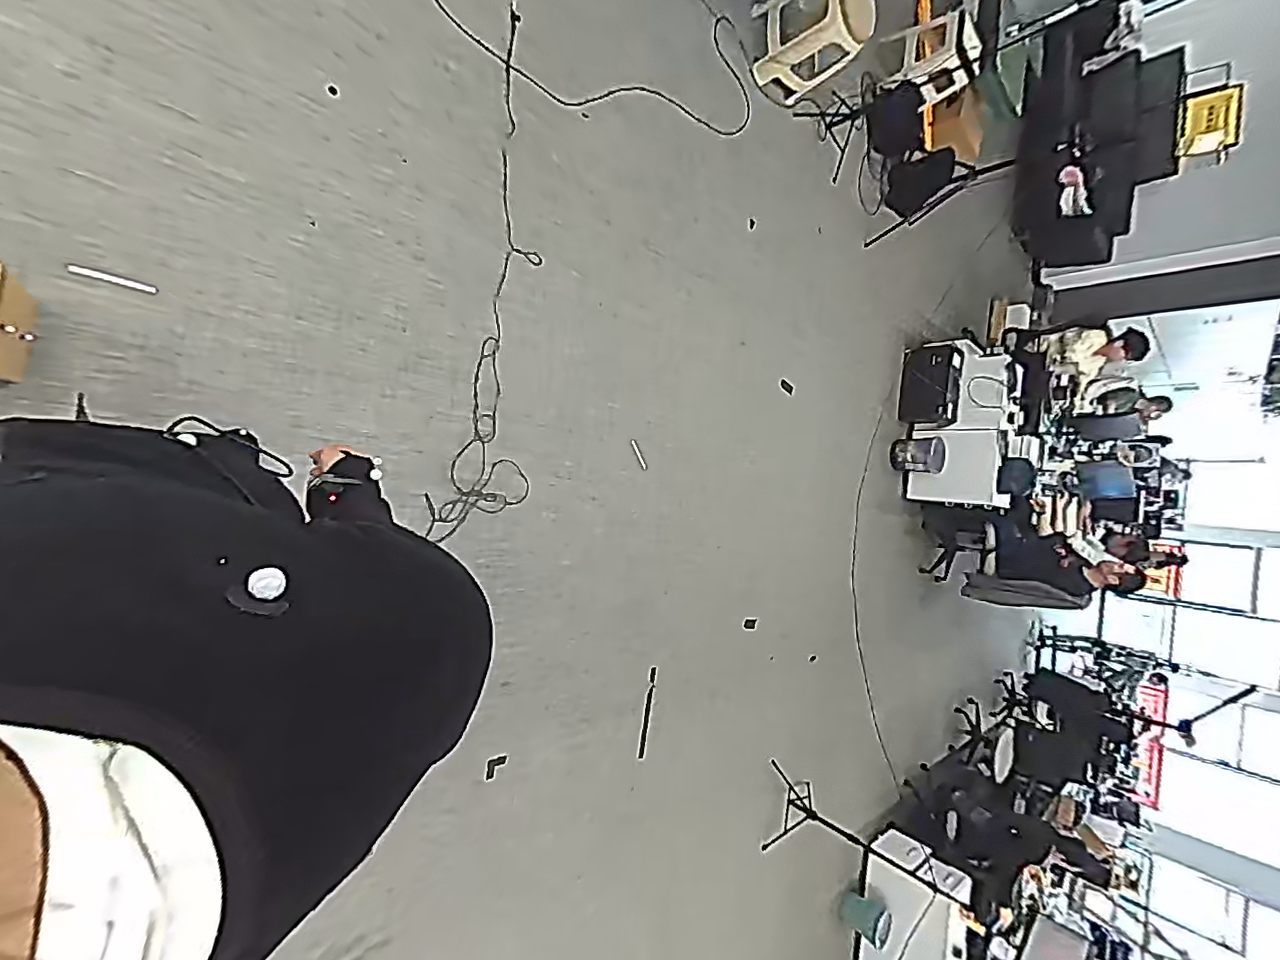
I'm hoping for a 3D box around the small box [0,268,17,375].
[{"bbox_3d":[-1.152,-0.272,0.870,0.168,0.176,0.179,11,87,-42],"label":"small box"}]
